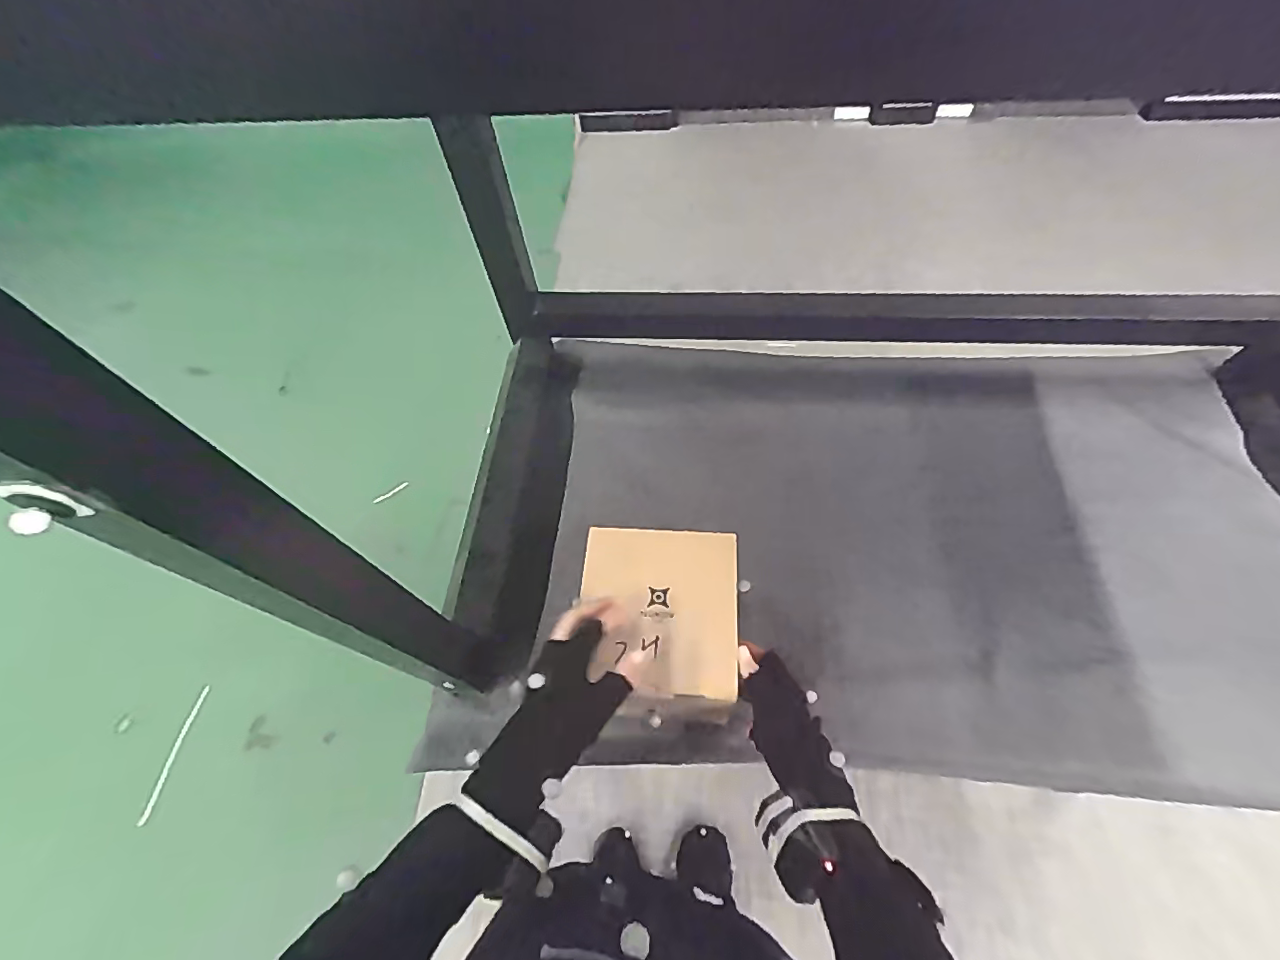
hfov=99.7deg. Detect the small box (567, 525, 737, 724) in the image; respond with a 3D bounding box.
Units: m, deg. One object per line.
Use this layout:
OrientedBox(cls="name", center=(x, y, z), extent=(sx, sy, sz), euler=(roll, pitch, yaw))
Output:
OrientedBox(cls="small box", center=(0.021, 0.169, 0.624), extent=(0.168, 0.176, 0.179), euler=(2, 59, 6))
